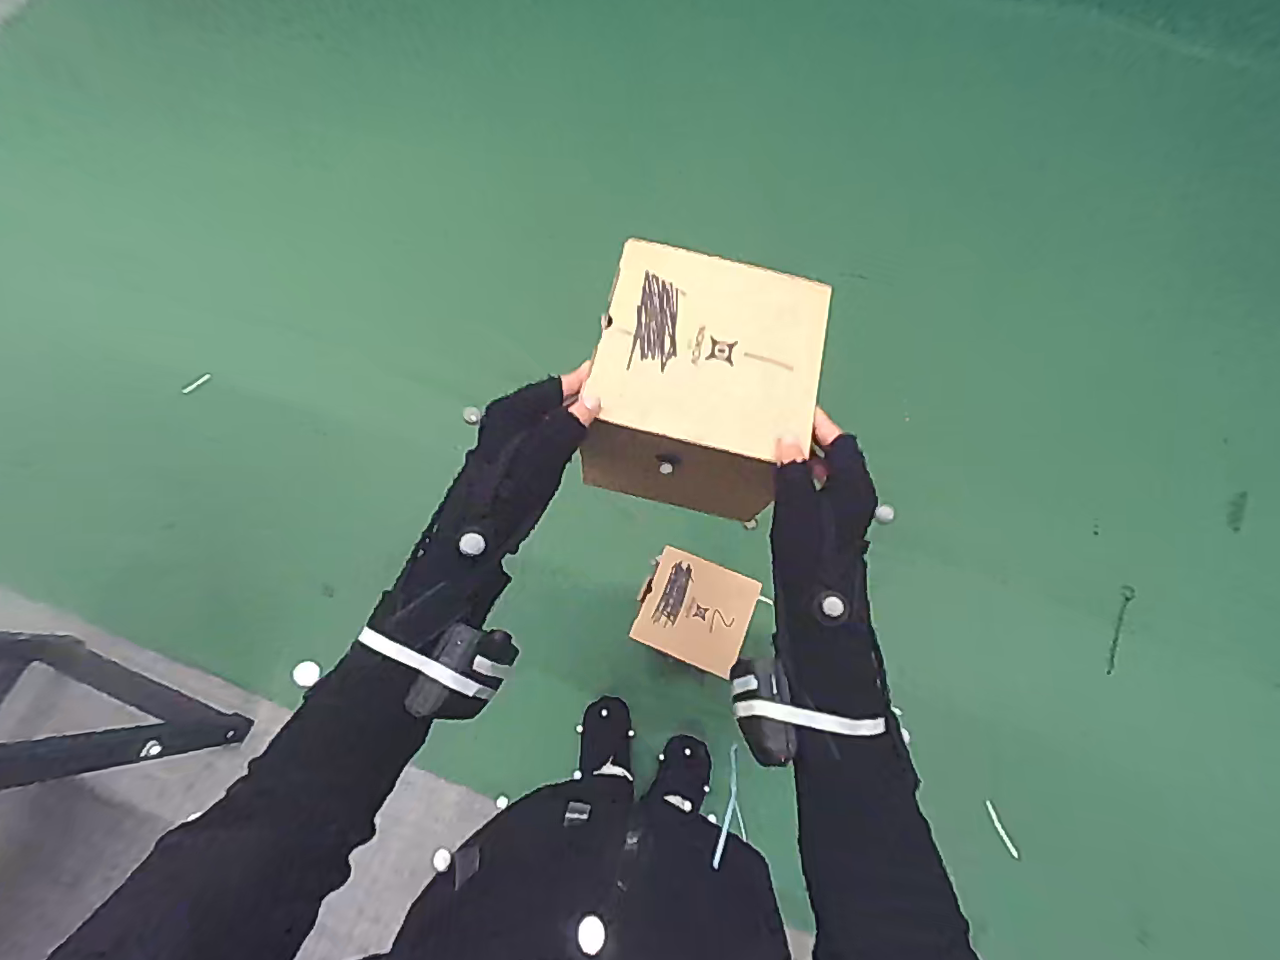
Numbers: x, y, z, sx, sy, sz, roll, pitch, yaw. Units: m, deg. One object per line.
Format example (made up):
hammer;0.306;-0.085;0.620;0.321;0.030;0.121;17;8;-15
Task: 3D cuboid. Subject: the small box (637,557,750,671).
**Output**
small box;0.106;0.277;1.116;0.179;0.176;0.168;21;74;8
